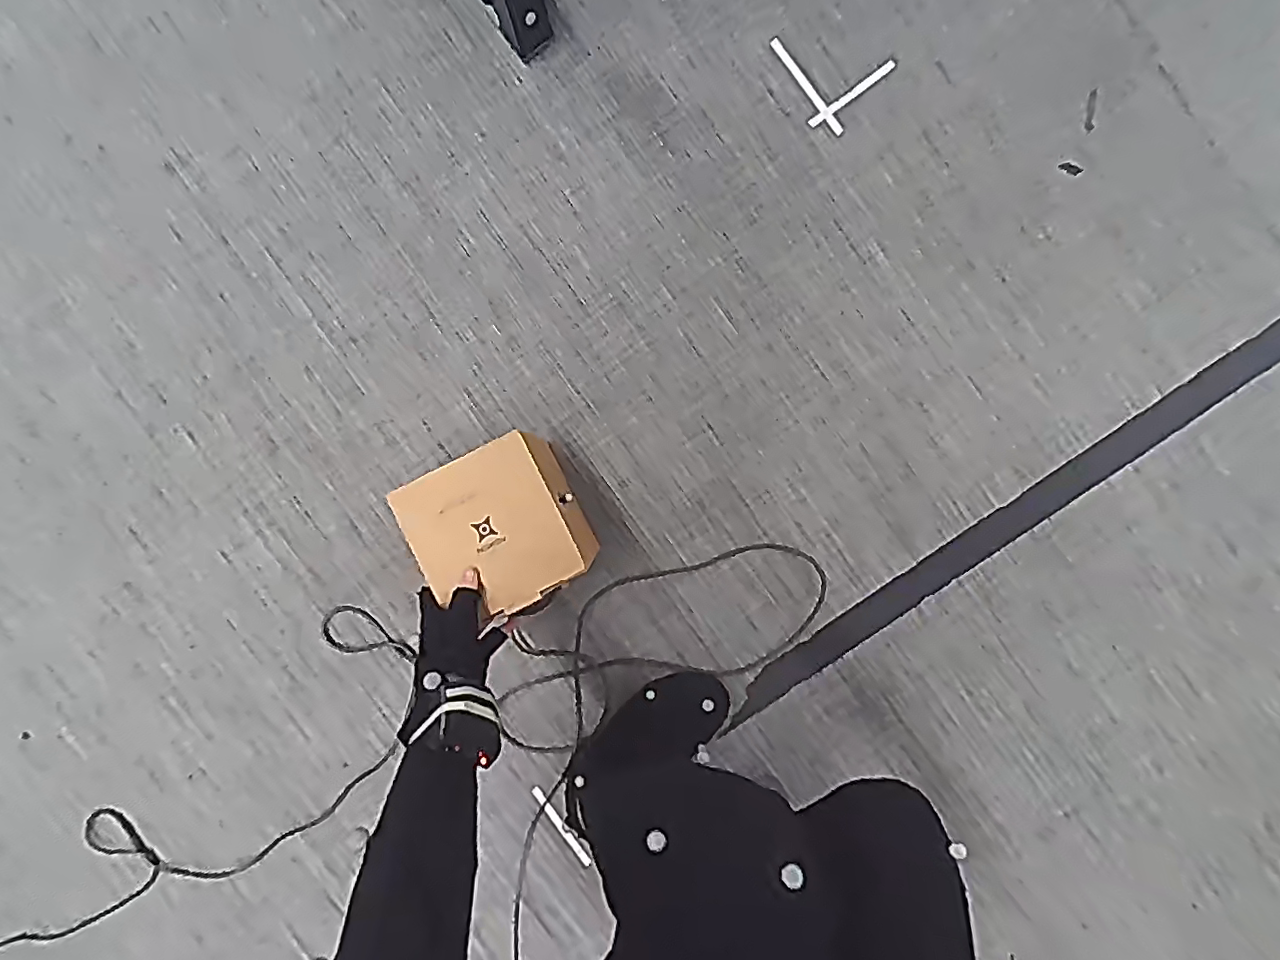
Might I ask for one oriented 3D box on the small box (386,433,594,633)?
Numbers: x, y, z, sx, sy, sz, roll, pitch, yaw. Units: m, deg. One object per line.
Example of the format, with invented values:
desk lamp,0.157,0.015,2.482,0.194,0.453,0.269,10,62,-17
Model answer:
small box,-0.169,0.058,0.674,0.168,0.176,0.179,-27,89,0
